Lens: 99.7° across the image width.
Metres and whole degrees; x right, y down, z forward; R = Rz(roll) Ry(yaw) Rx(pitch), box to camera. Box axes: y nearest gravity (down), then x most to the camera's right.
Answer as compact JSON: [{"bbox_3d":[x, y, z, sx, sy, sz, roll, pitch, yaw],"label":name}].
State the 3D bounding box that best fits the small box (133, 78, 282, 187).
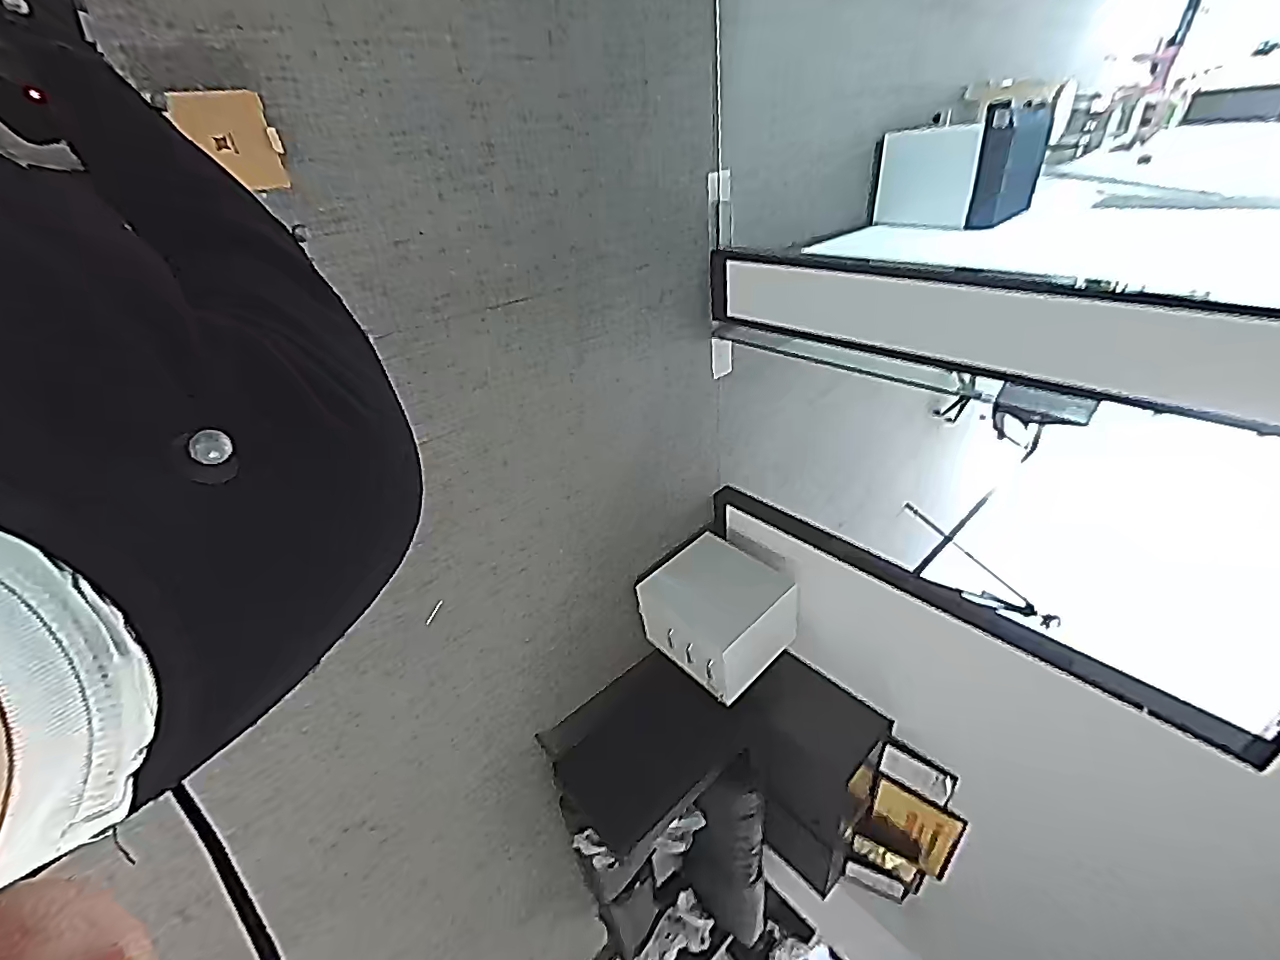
[{"bbox_3d":[-0.844,-0.671,1.058,0.179,0.176,0.168,-26,126,-34],"label":"small box"}]
